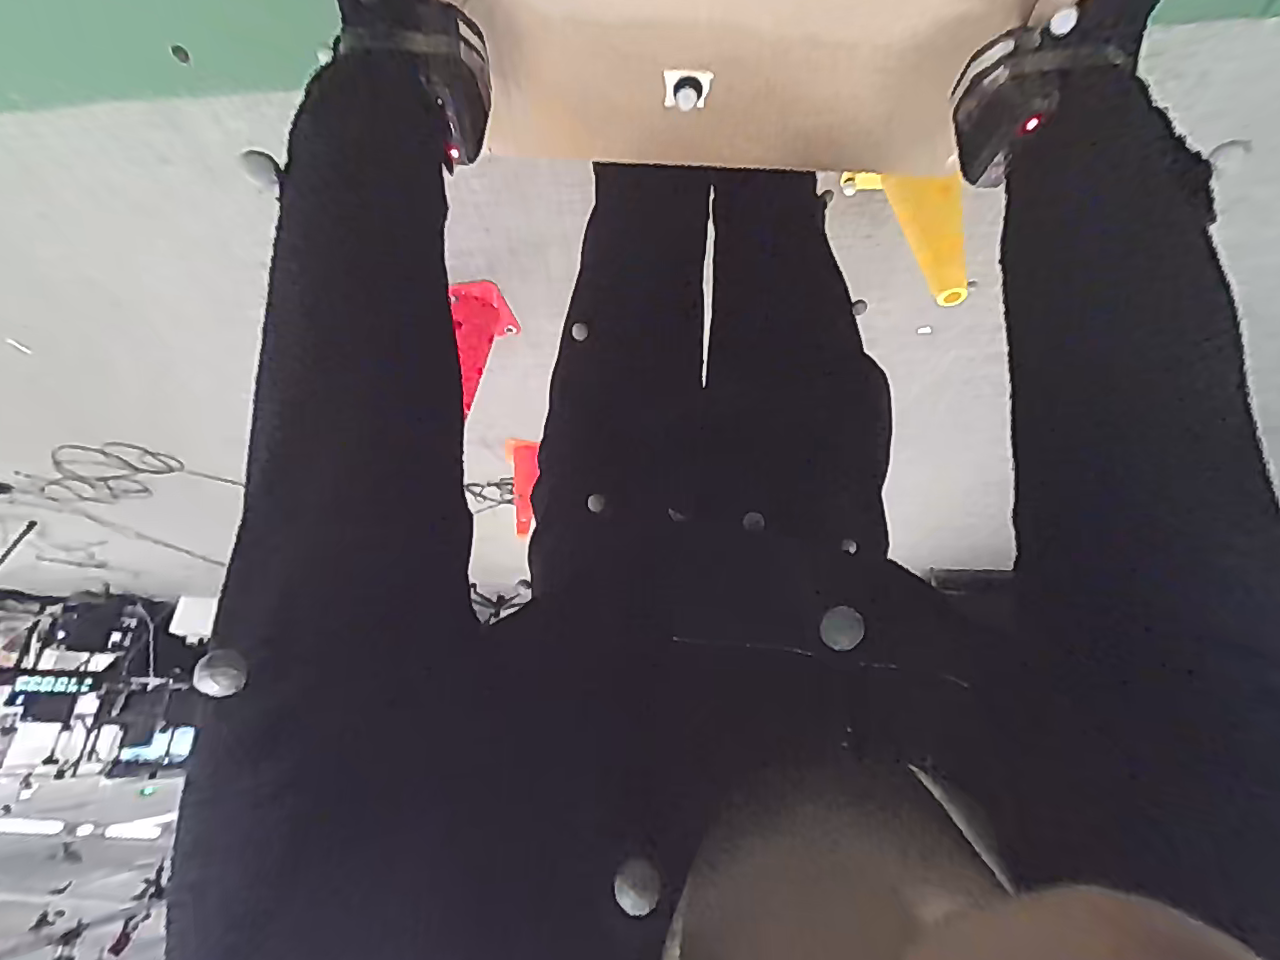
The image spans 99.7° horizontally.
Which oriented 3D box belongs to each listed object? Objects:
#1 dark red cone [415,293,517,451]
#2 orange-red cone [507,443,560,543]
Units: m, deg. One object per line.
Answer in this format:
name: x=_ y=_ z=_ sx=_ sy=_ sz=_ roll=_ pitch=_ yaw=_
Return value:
dark red cone: x=-0.440 y=-0.247 z=1.292 sx=0.202 sy=0.394 sz=0.201 roll=-3 pitch=153 yaw=12
orange-red cone: x=-0.431 y=0.066 z=2.067 sx=0.199 sy=0.360 sz=0.198 roll=9 pitch=155 yaw=-13
